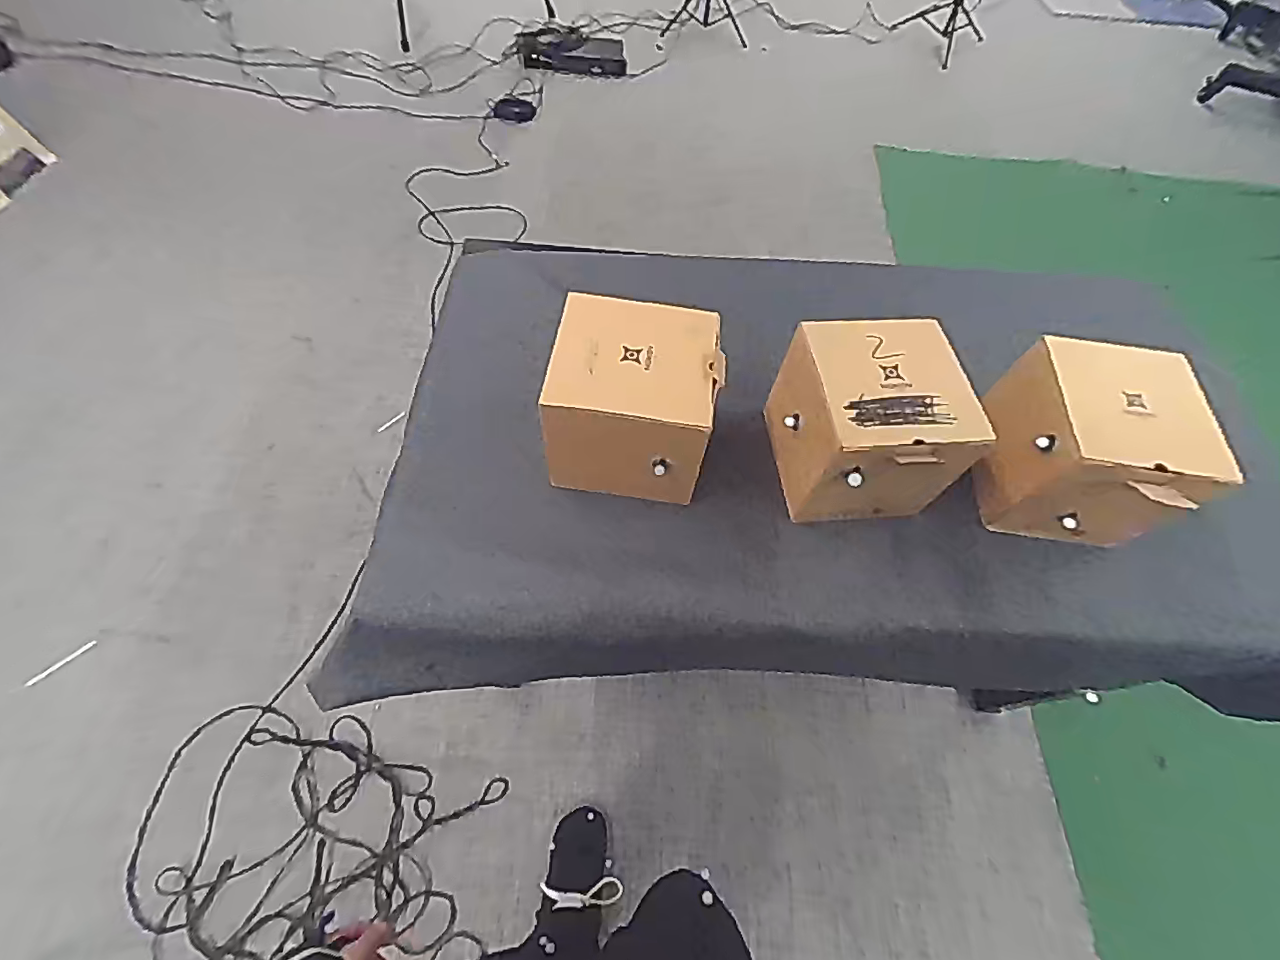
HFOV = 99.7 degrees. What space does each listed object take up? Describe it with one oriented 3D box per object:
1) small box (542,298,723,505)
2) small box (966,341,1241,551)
[{"bbox_3d":[-0.007,-0.085,0.641,0.179,0.176,0.168,8,58,1],"label":"small box"},{"bbox_3d":[0.529,-0.035,0.654,0.168,0.176,0.179,9,60,0],"label":"small box"}]
